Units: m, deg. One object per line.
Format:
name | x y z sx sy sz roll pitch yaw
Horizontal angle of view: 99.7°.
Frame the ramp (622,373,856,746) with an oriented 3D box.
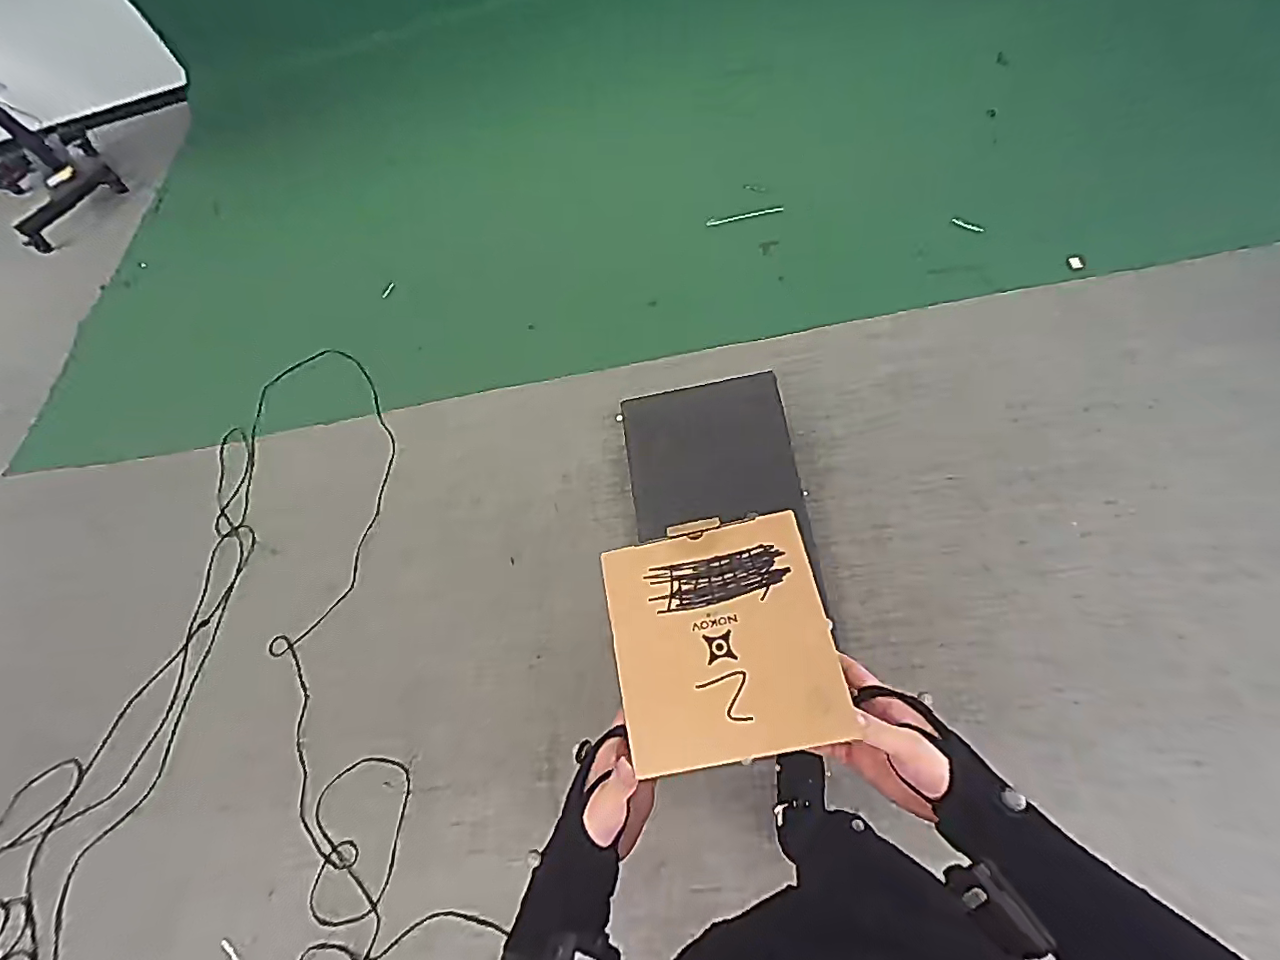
ramp | 0.247 0.184 1.533 0.509 0.206 0.991 -11 62 5
